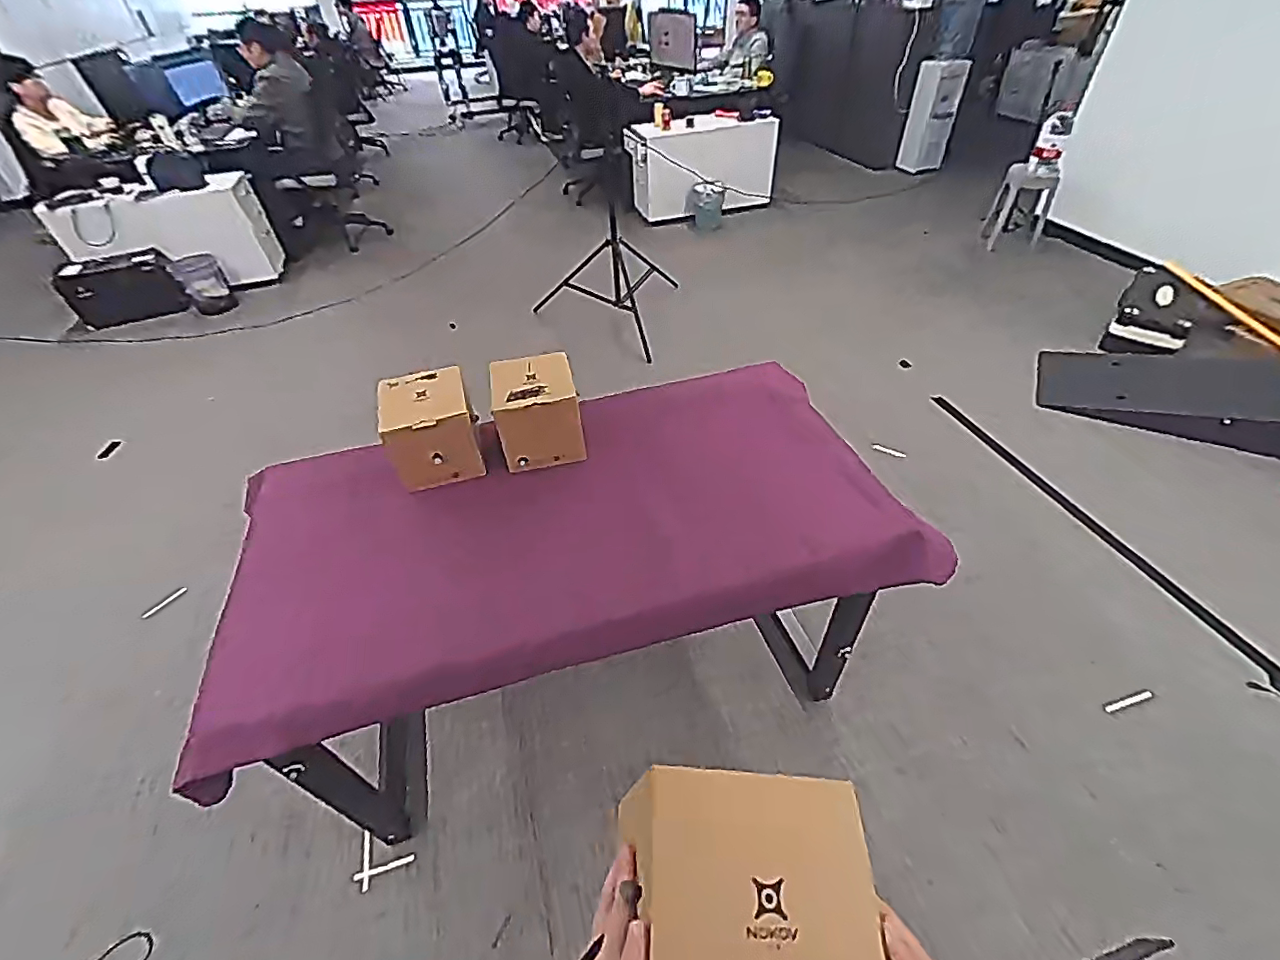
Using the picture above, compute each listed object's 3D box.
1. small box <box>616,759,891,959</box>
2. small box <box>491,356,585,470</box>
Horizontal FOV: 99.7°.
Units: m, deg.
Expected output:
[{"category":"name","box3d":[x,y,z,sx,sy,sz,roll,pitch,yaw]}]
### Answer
[{"category":"small box","box3d":[0.074,0.346,0.430,0.168,0.176,0.179,9,48,-6]},{"category":"small box","box3d":[-0.217,-0.138,1.157,0.168,0.176,0.179,-11,45,-8]}]
